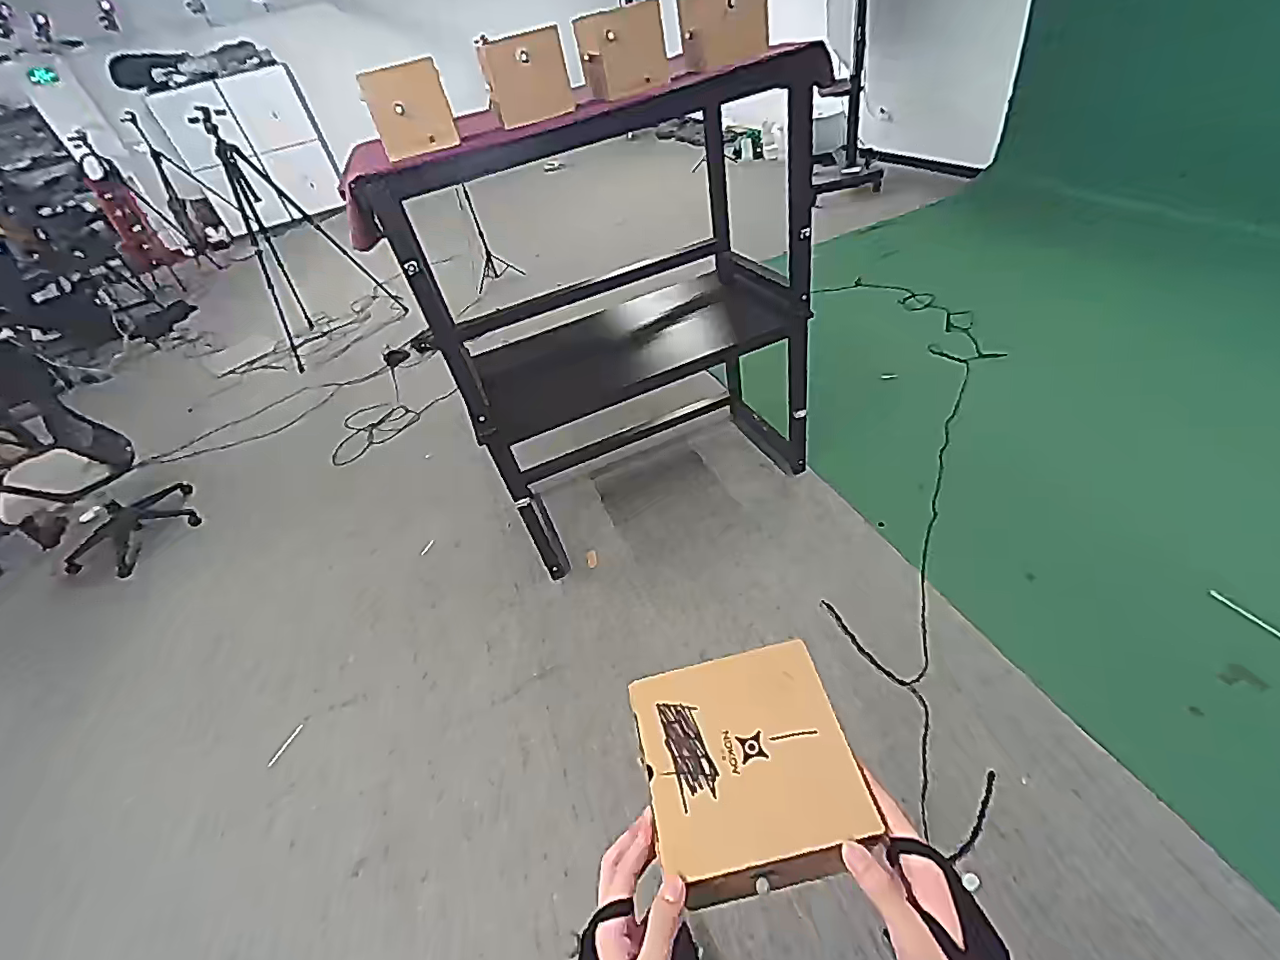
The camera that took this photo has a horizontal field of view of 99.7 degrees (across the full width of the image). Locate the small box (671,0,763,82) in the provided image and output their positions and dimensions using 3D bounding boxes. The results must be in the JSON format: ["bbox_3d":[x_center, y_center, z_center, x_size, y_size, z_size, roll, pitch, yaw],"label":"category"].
[{"bbox_3d":[0.198,-1.139,1.378,0.179,0.176,0.168,-21,42,-6],"label":"small box"}]

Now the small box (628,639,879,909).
[{"bbox_3d":[0.100,0.284,0.518,0.179,0.176,0.168,-15,45,0],"label":"small box"}]

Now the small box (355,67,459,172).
[{"bbox_3d":[-0.532,-0.834,1.255,0.168,0.176,0.179,-20,39,-6],"label":"small box"}]
